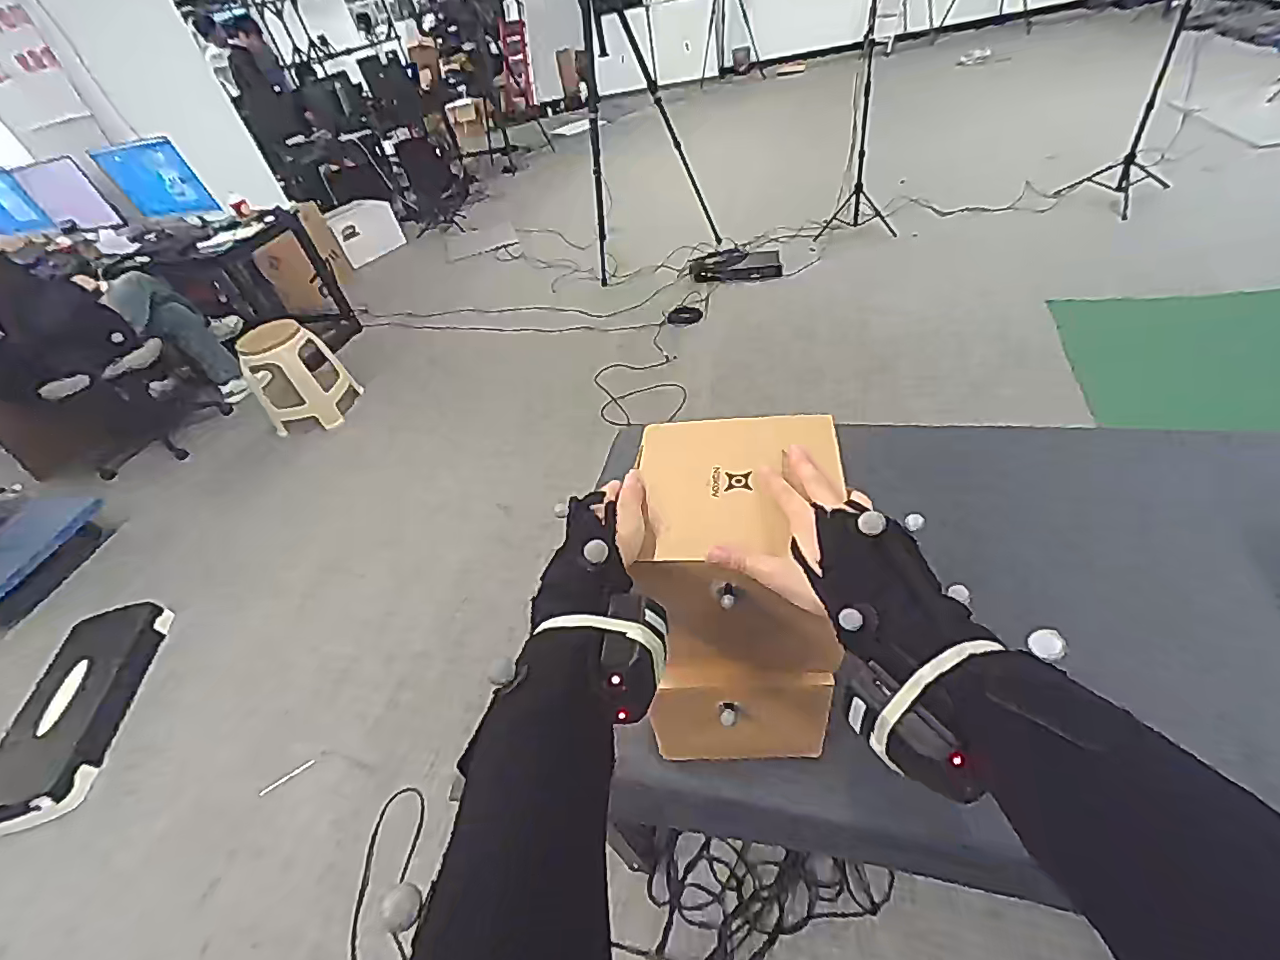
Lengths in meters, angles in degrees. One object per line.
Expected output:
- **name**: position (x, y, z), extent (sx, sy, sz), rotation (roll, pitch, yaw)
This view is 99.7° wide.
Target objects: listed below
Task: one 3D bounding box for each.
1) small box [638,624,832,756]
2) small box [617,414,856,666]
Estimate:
- **small box**: position (0.101, 0.188, 0.596), extent (0.179, 0.176, 0.168), rotation (-5, 43, 9)
- **small box**: position (0.090, 0.058, 0.500), extent (0.179, 0.176, 0.168), rotation (-1, 45, 11)
